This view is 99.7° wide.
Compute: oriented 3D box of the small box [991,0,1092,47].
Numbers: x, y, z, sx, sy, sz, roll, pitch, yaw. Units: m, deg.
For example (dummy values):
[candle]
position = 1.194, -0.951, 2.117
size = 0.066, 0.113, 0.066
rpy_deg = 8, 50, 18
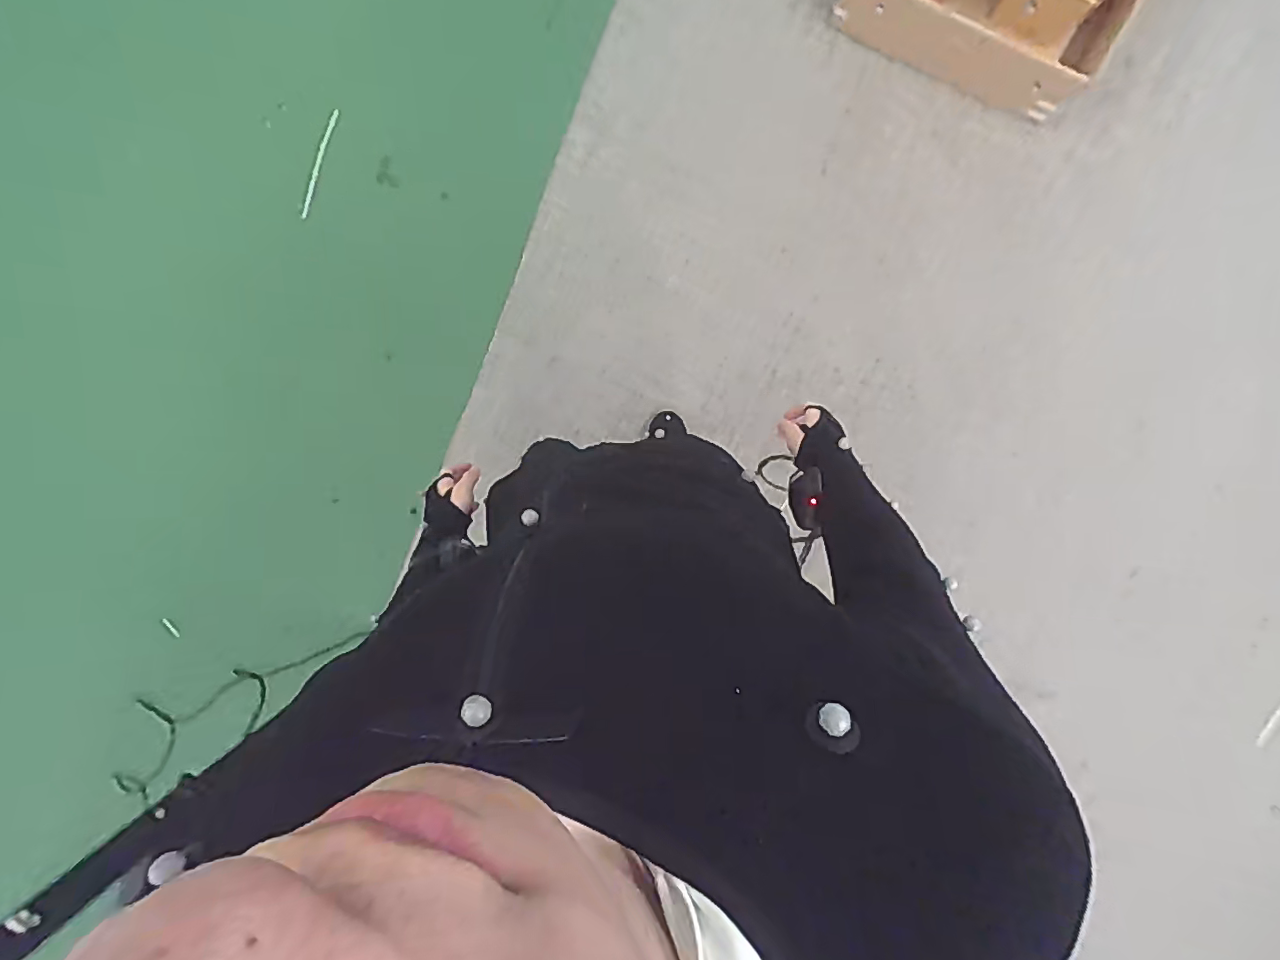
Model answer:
[small box]
position = 0.937, -1.139, 1.218
size = 0.168, 0.176, 0.179
rpy_deg = 27, 100, 1
